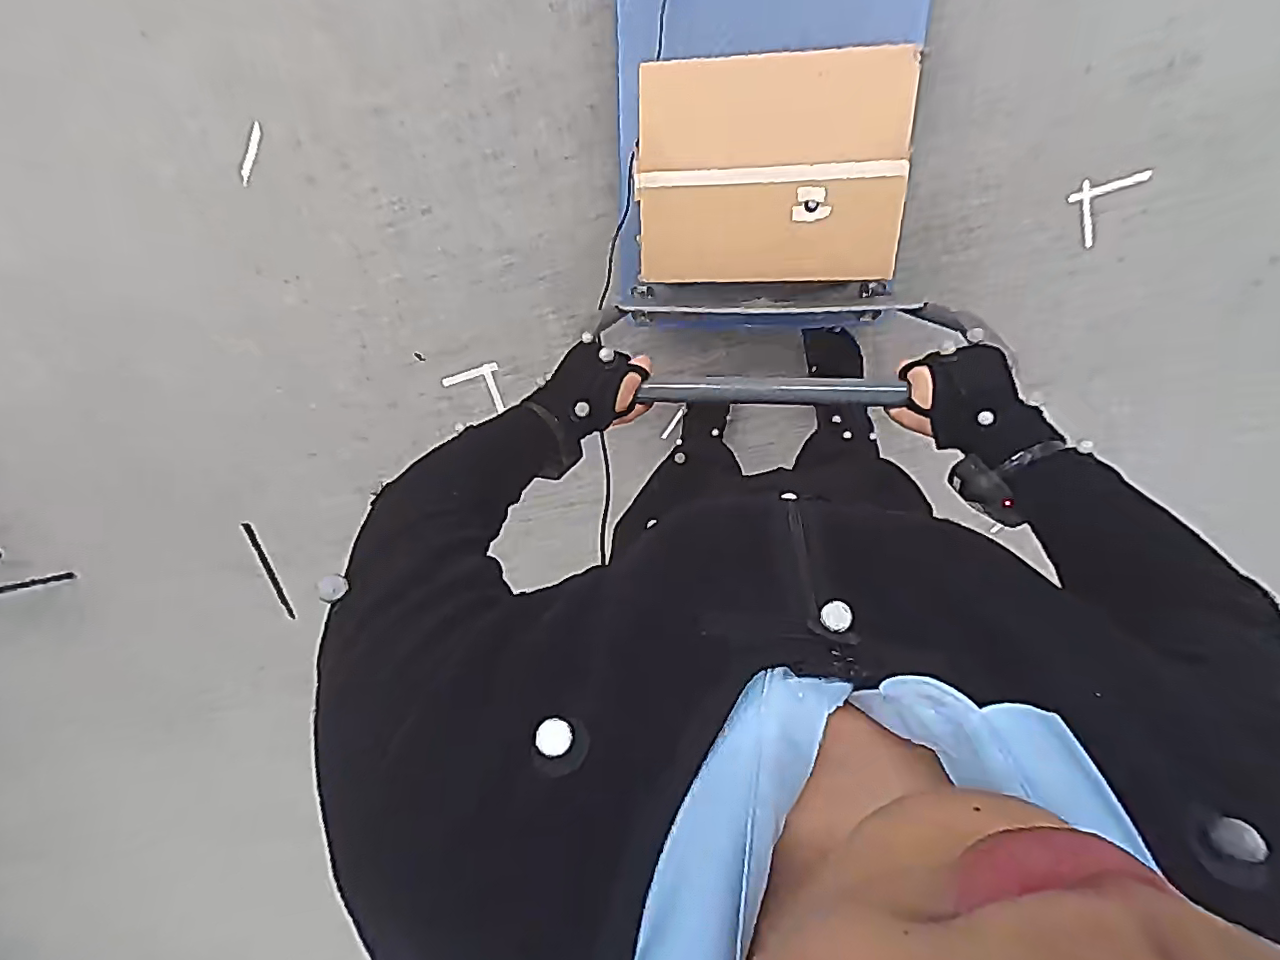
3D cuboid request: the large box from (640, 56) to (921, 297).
[{"bbox_3d":[0.217,-0.497,0.964,0.408,0.320,0.320,2,110,7],"label":"large box"}]
